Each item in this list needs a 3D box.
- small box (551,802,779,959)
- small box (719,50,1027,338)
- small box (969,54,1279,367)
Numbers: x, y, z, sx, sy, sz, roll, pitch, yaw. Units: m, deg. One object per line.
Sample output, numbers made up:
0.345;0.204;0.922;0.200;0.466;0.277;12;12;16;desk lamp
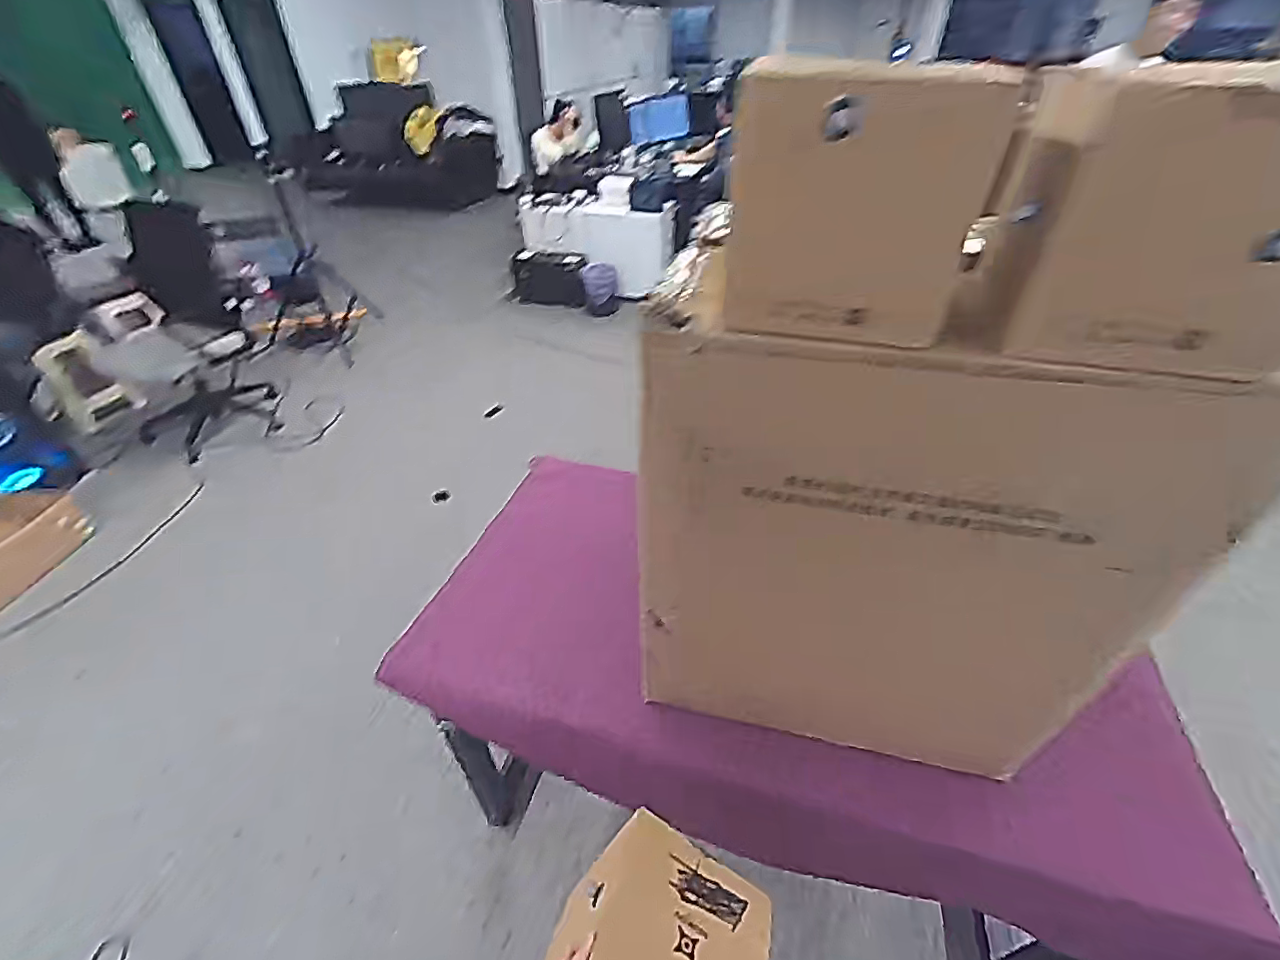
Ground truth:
0.013;0.468;0.512;0.168;0.176;0.179;32;22;6;small box
0.159;-0.231;0.431;0.168;0.176;0.179;9;39;11;small box
0.365;-0.198;0.392;0.168;0.176;0.179;11;40;14;small box
